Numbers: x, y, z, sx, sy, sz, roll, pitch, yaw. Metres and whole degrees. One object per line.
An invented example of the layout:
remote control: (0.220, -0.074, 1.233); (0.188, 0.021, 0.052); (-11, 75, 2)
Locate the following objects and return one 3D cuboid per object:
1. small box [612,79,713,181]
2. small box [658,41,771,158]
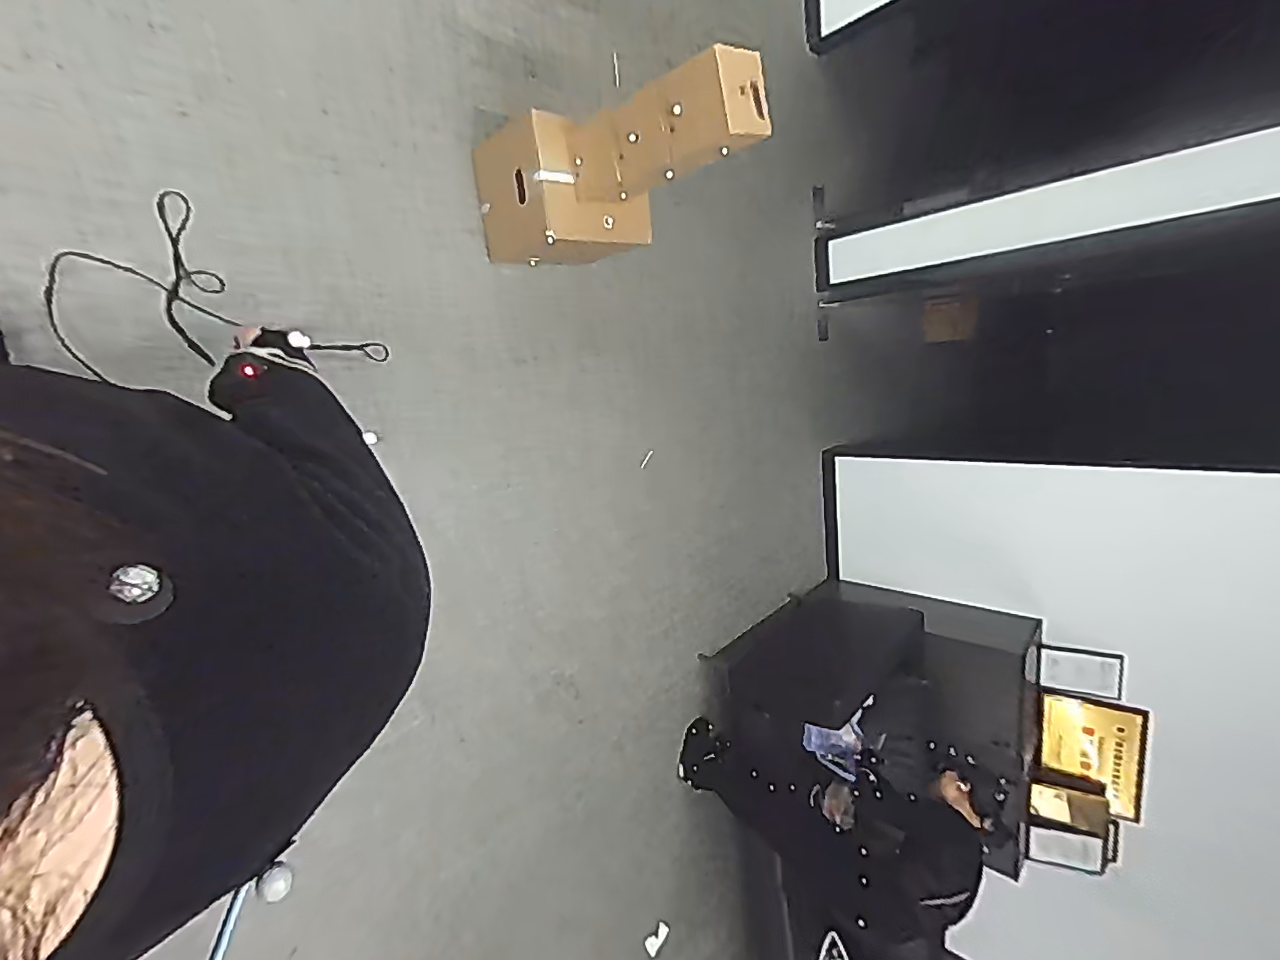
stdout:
small box: (0.050, -0.857, 1.337); (0.179, 0.176, 0.168); (-29, 114, -39)
small box: (0.168, -0.847, 1.222); (0.179, 0.176, 0.168); (-31, 114, -39)
